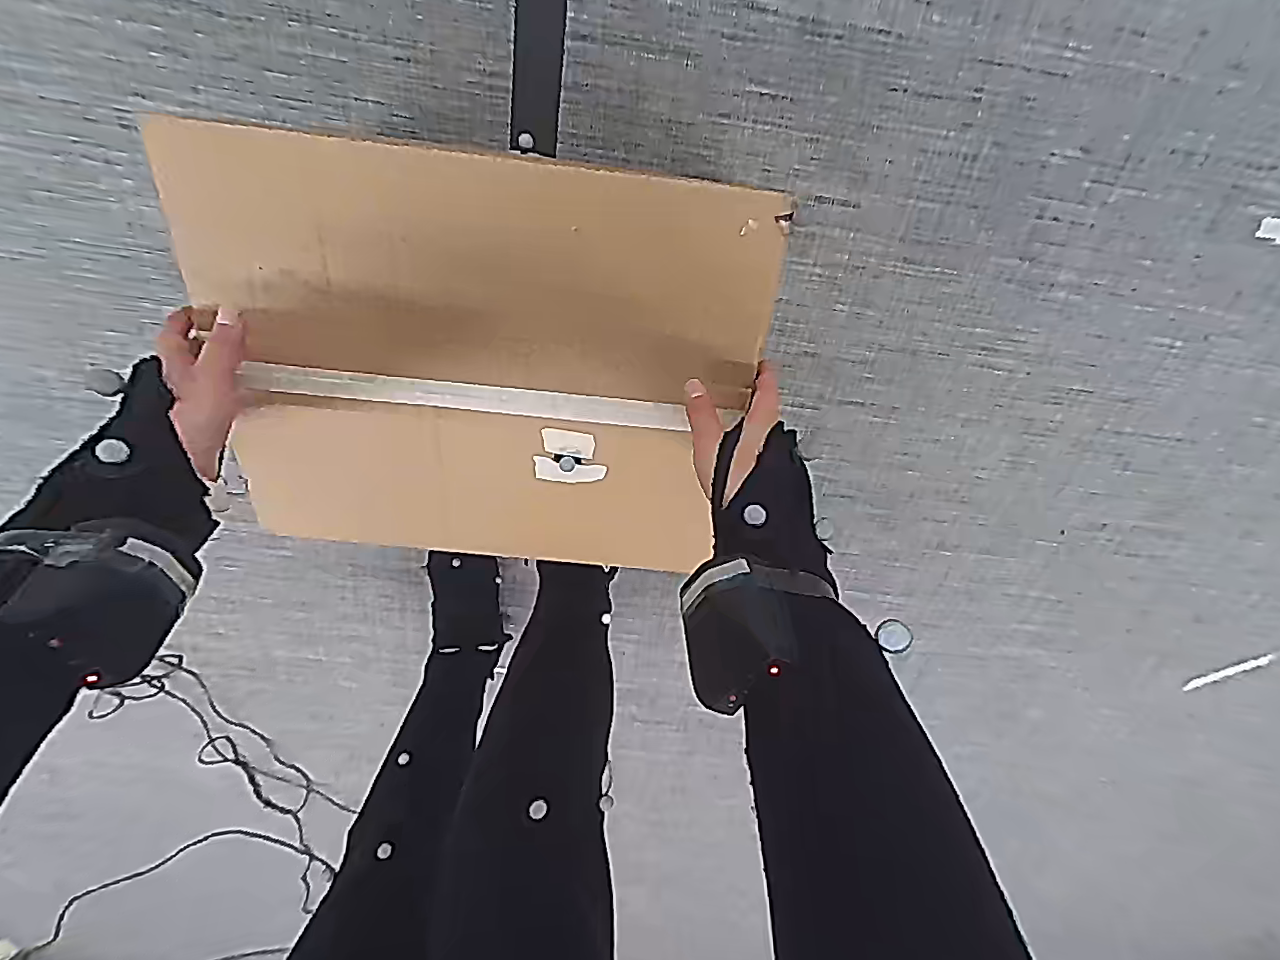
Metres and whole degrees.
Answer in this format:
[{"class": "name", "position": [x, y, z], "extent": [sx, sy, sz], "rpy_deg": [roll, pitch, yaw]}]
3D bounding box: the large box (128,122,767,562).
[{"class": "large box", "position": [-0.131, -0.143, 0.537], "extent": [0.408, 0.320, 0.320], "rpy_deg": [5, 121, -3]}]
